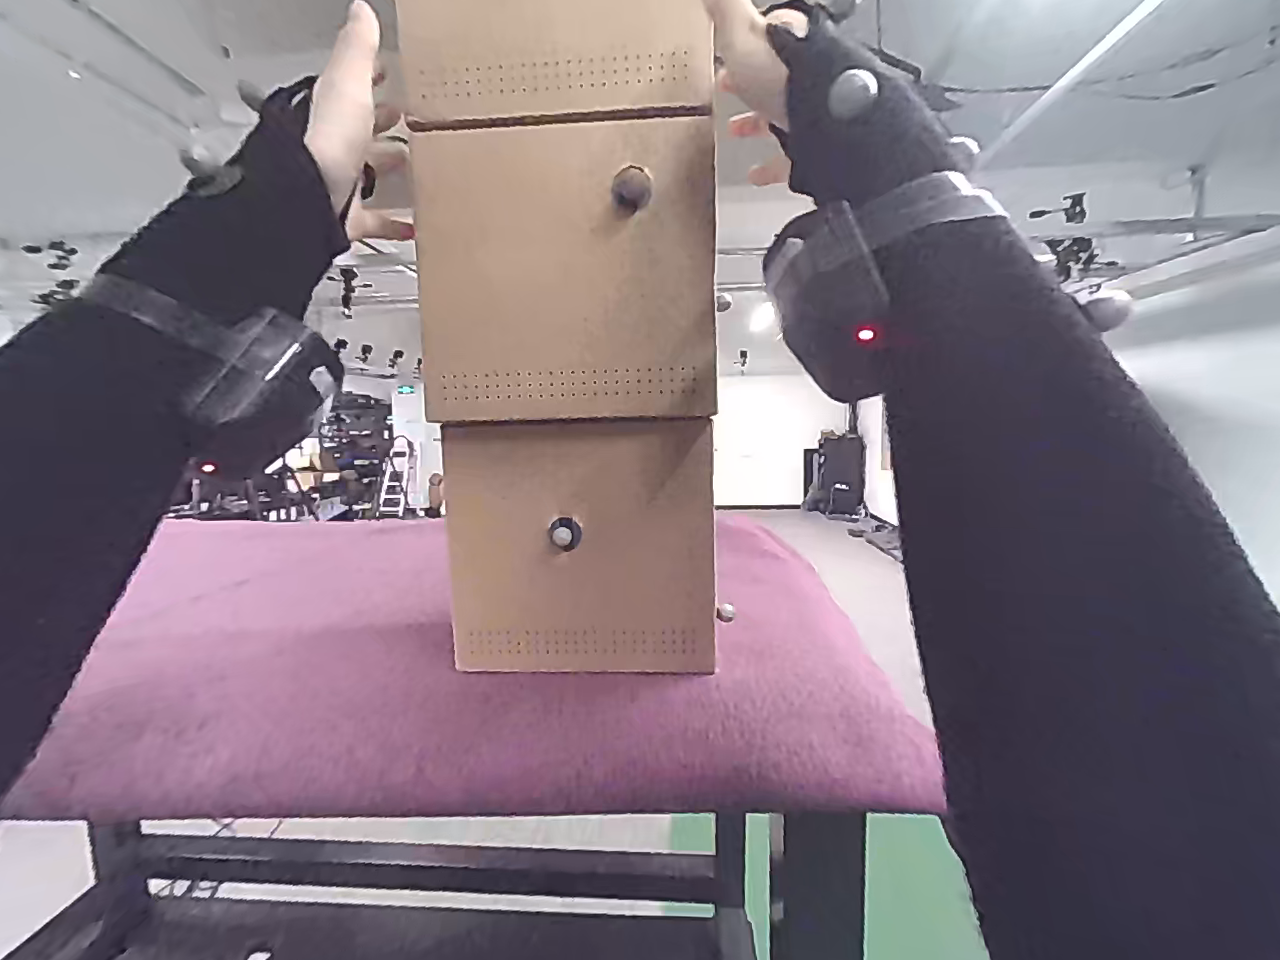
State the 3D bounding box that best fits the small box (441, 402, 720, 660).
[{"bbox_3d":[-0.031,0.029,0.420,0.179,0.176,0.168,-2,5,4],"label":"small box"}]
